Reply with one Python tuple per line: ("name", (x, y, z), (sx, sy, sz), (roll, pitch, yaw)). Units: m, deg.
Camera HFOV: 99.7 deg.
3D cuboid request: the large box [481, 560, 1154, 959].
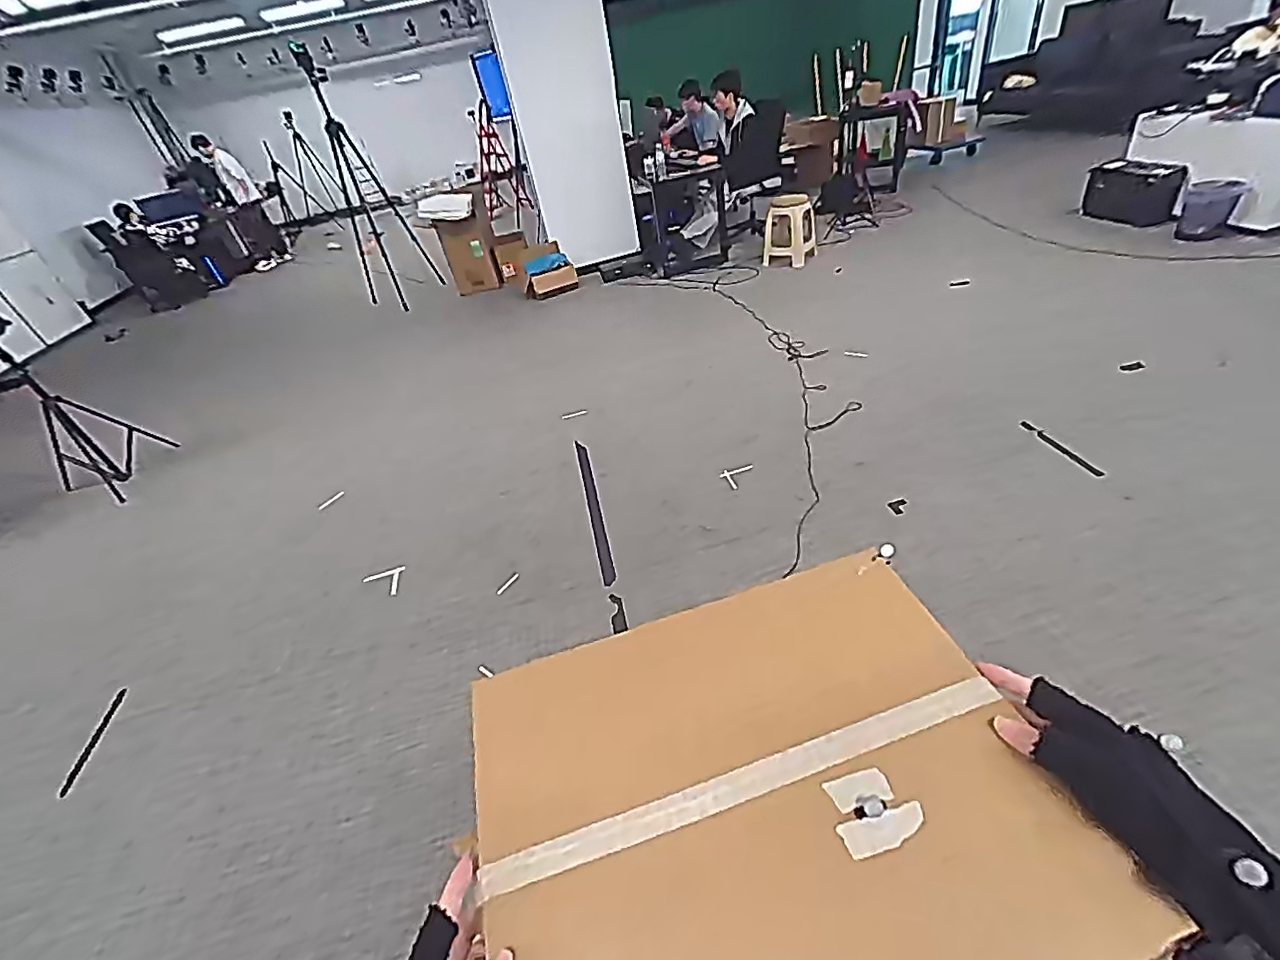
("large box", (0.103, 0.340, 0.507), (0.408, 0.320, 0.320), (-17, 42, -8))
